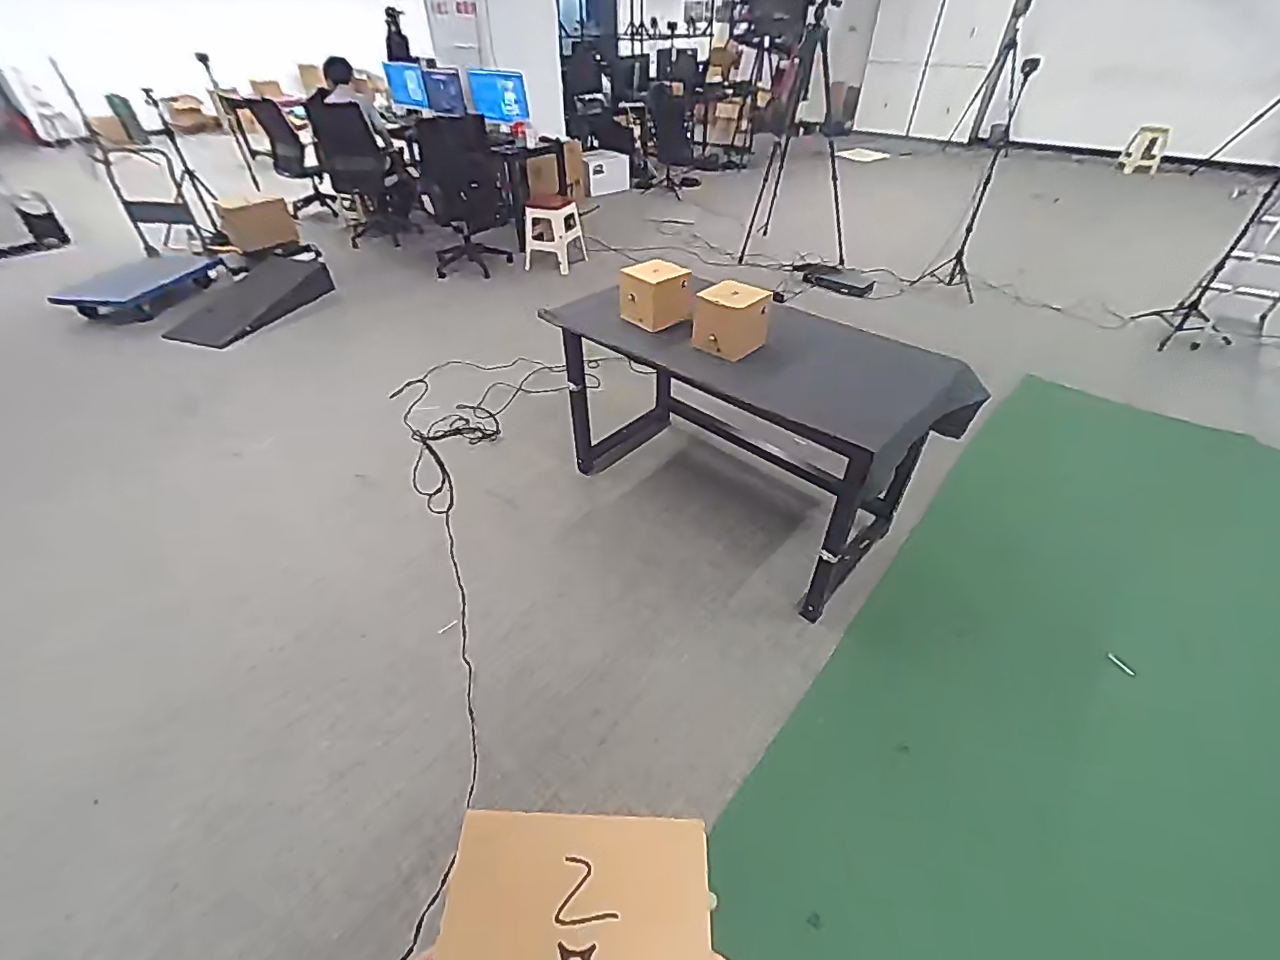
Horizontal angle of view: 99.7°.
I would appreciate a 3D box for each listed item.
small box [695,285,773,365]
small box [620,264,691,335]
[{"bbox_3d":[0.282,-0.478,1.666,0.168,0.176,0.179,30,48,32],"label":"small box"},{"bbox_3d":[0.052,-0.604,1.817,0.179,0.176,0.168,-30,48,-32],"label":"small box"}]
